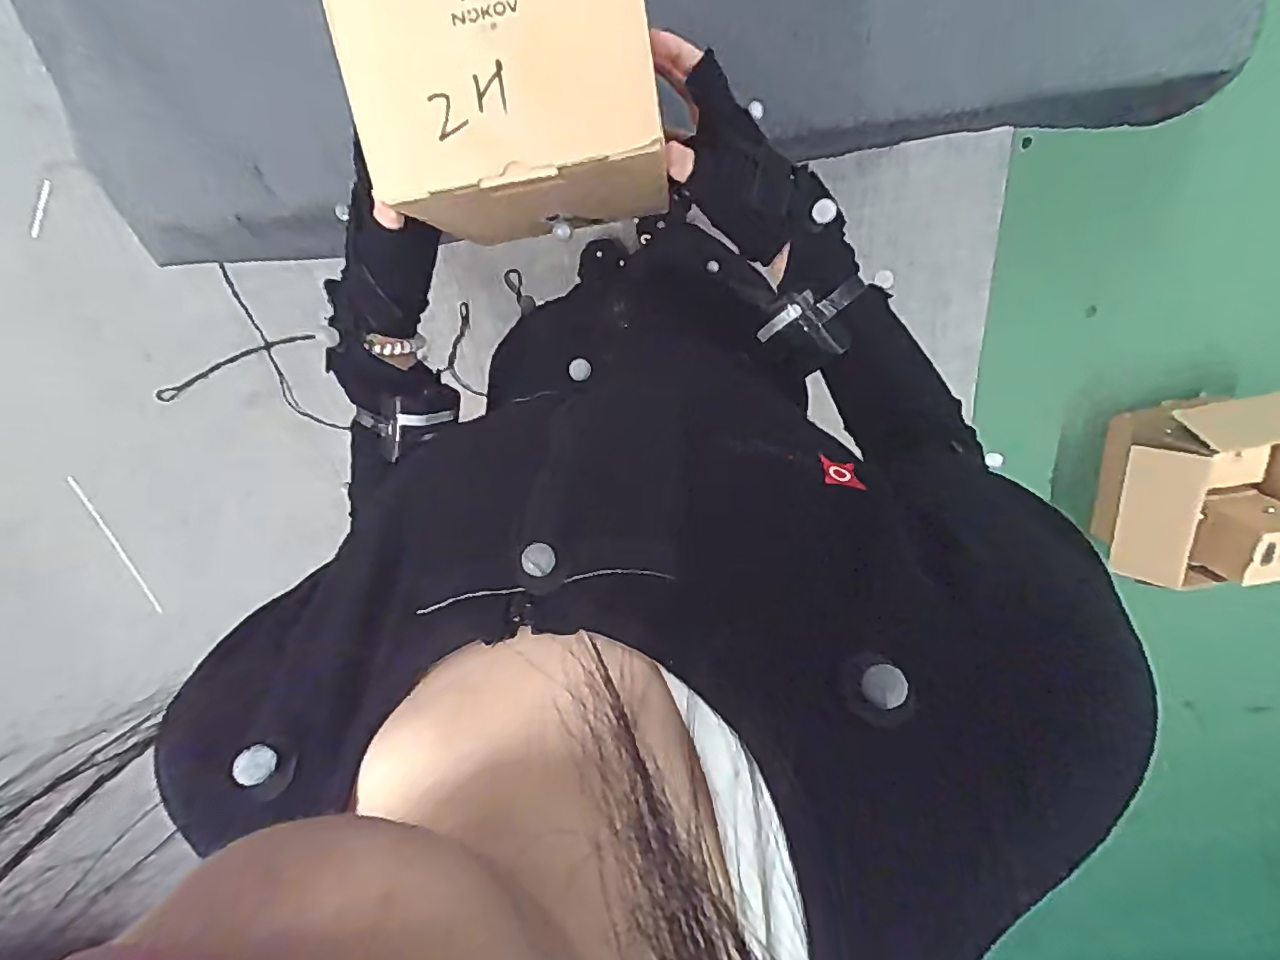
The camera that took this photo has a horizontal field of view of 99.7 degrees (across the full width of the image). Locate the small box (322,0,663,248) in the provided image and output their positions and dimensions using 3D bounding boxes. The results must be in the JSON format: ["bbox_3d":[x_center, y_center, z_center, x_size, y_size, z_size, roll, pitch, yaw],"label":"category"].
[{"bbox_3d":[-0.078,-0.268,0.354,0.168,0.176,0.179,-8,106,7],"label":"small box"}]
